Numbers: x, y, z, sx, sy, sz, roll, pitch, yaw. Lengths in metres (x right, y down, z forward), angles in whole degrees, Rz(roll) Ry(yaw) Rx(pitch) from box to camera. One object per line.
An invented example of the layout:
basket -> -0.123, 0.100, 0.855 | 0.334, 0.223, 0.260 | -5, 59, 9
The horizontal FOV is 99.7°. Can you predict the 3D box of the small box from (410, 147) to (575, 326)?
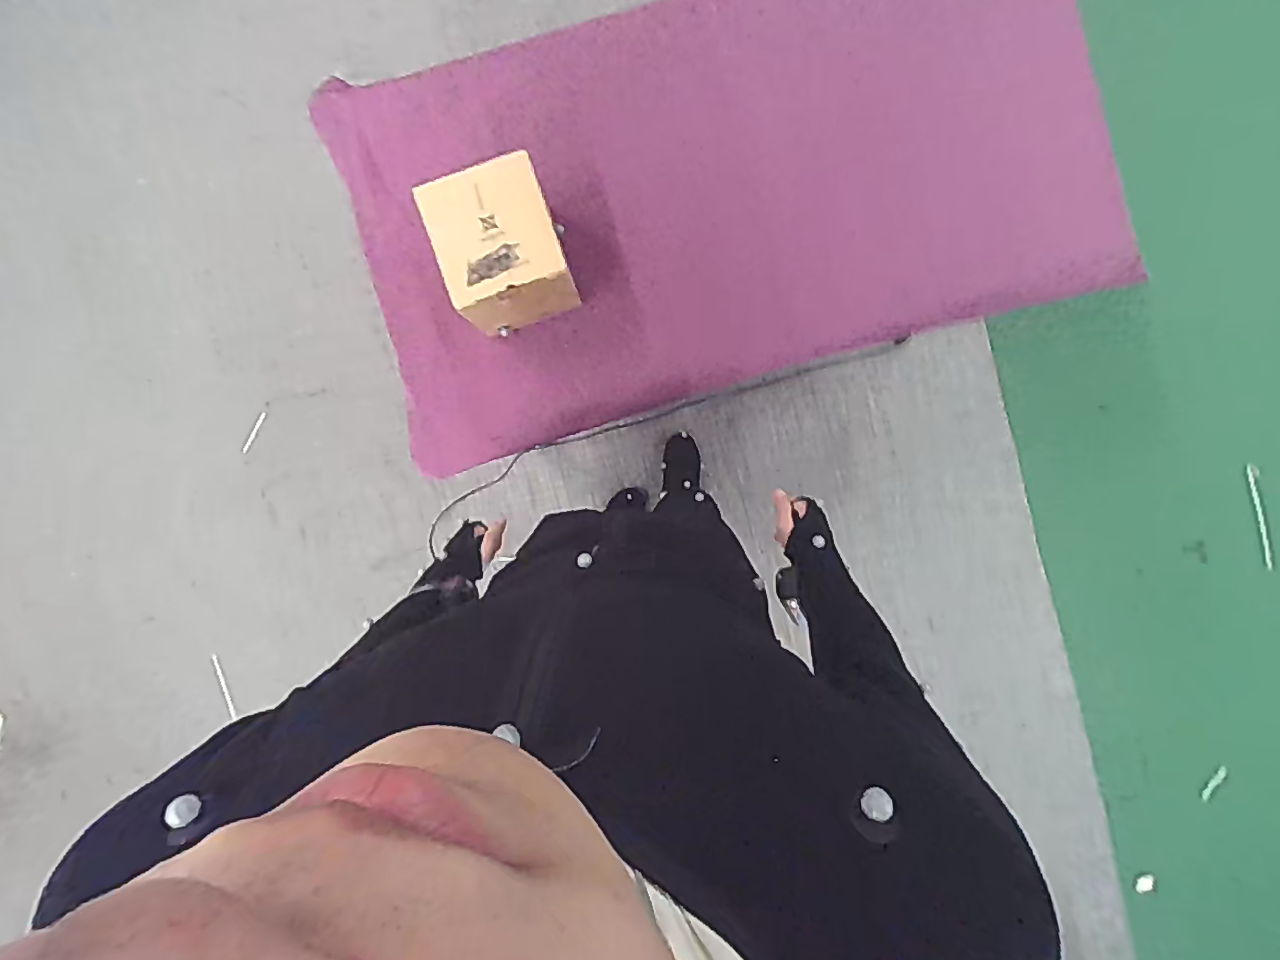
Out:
small box -> -0.206, -0.345, 0.810 | 0.168, 0.176, 0.179 | -19, 91, 1
